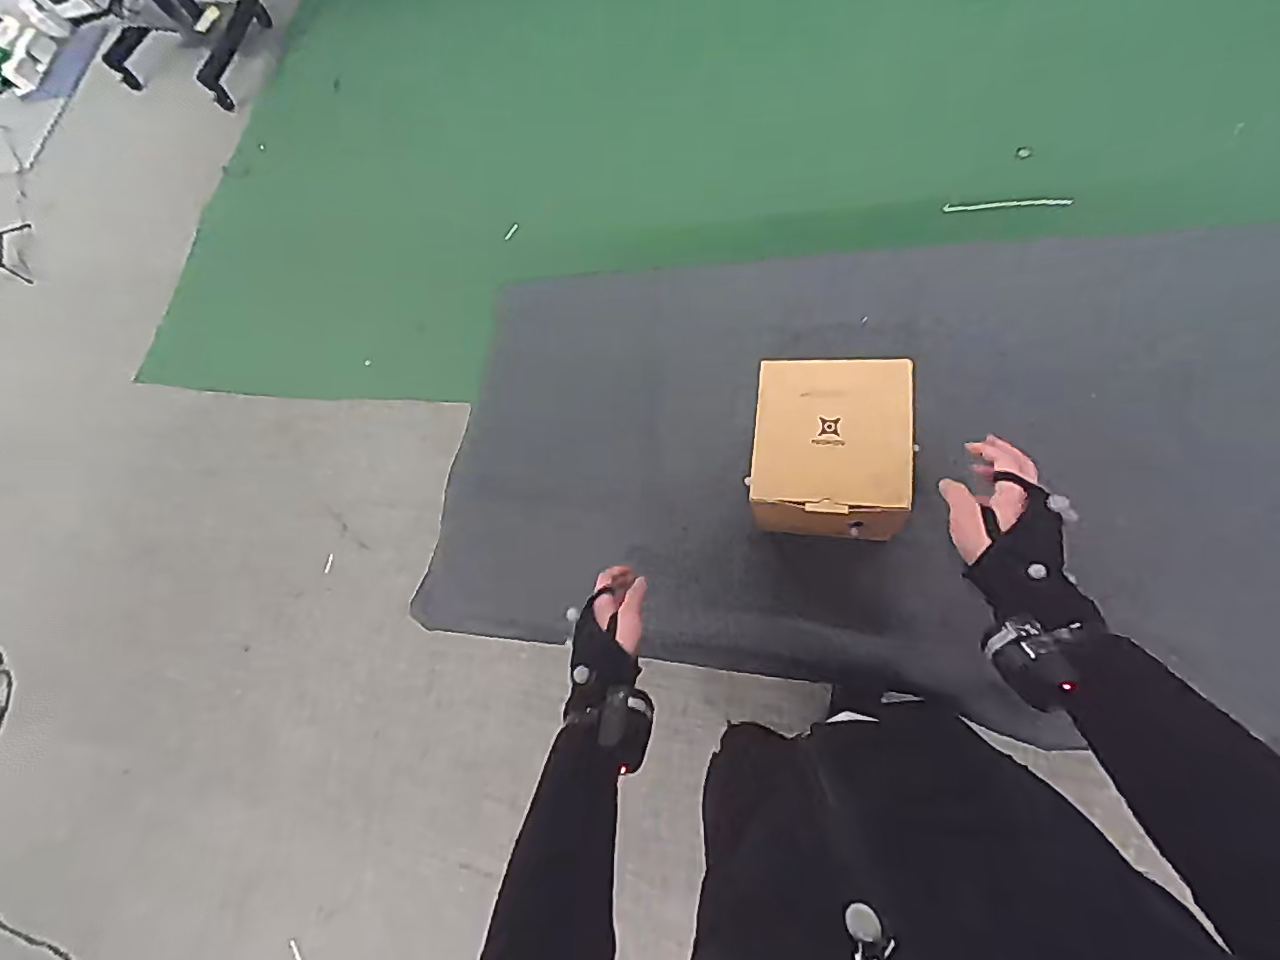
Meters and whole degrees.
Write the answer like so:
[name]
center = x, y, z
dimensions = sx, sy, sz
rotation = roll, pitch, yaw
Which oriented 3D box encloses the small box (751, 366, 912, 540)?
[small box]
center = 0.235, -0.026, 0.678
dimensions = 0.168, 0.176, 0.179
rotation = 3, 74, 16
